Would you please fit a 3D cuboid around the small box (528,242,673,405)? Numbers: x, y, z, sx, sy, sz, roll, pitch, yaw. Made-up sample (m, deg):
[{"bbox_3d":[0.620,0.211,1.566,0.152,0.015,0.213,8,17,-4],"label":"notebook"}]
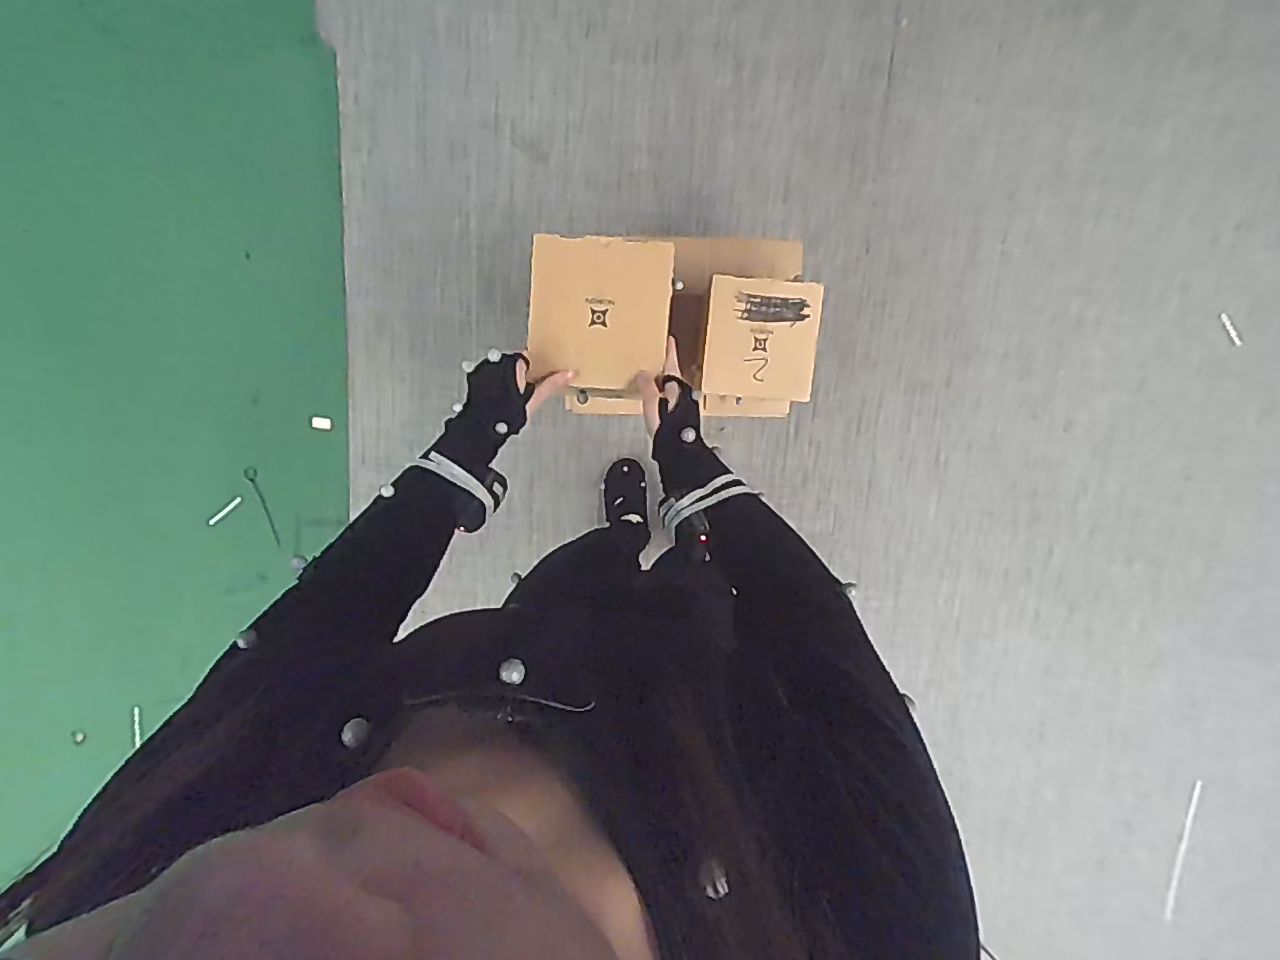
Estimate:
[{"bbox_3d":[-0.045,-0.196,0.727,0.168,0.176,0.179,5,93,1],"label":"small box"}]
